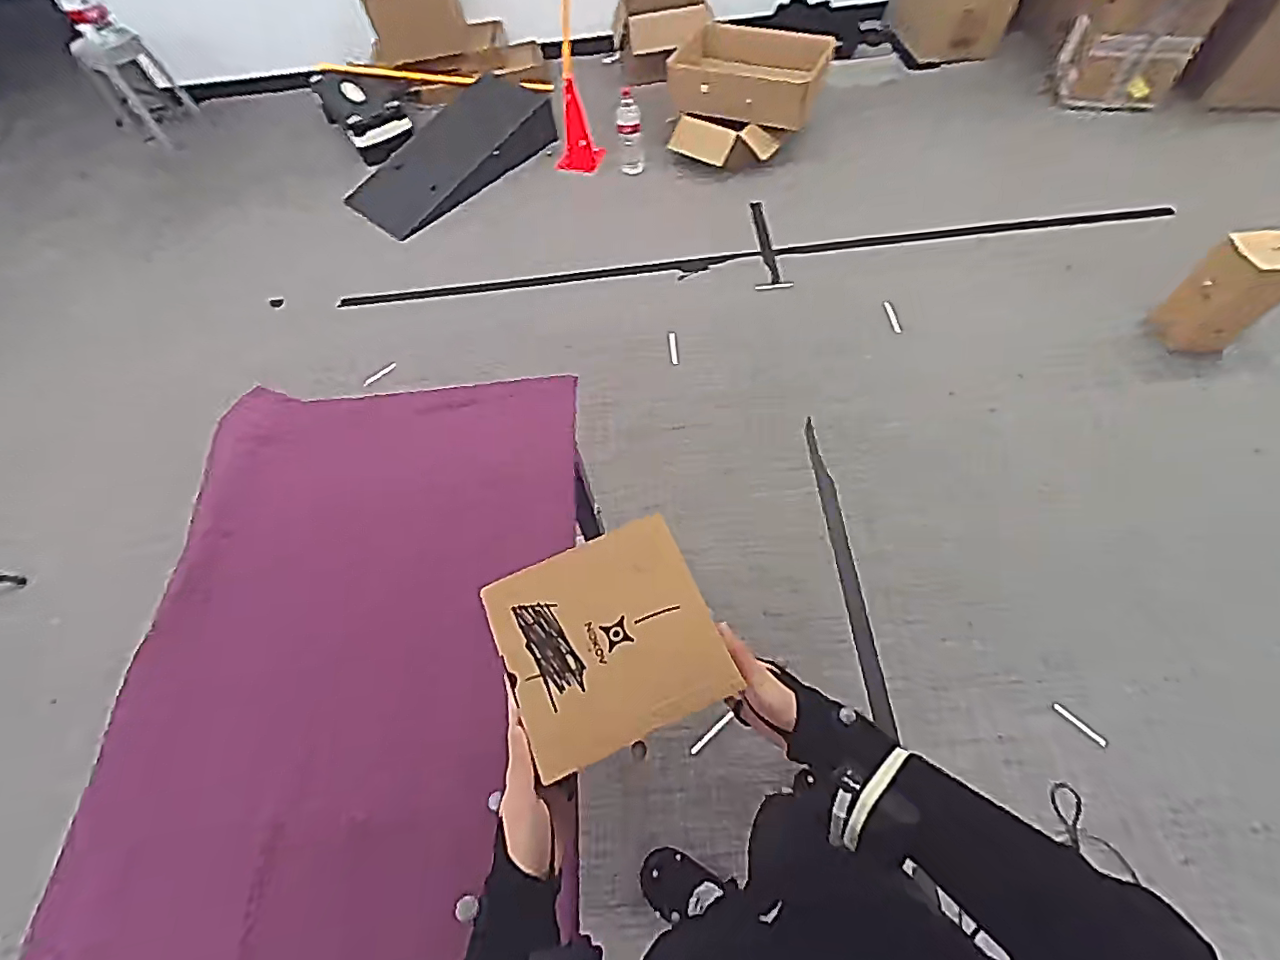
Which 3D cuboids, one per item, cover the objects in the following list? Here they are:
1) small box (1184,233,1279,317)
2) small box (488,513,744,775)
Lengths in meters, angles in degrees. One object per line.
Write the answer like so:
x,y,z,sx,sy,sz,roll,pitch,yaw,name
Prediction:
1.810,-0.606,1.611,0.179,0.176,0.168,-2,59,5,small box
-0.020,0.159,0.524,0.179,0.176,0.168,-22,69,-6,small box
